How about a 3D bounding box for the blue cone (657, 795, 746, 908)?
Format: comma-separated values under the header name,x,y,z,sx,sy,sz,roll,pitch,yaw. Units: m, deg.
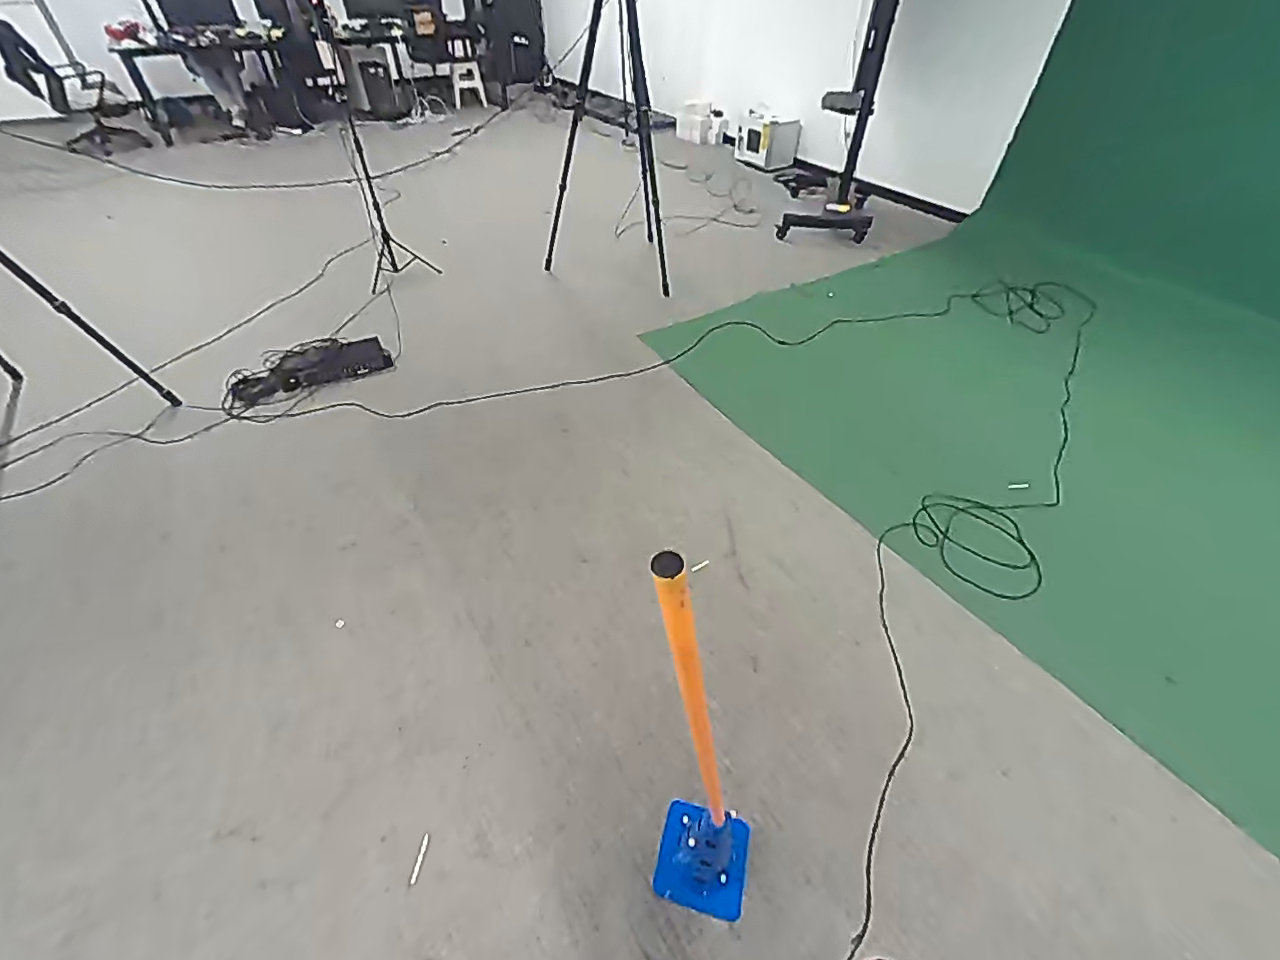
name,x,y,z,sx,sy,sz,roll,pitch,yaw
blue cone,0.141,0.734,1.118,0.193,0.380,0.192,10,47,11
